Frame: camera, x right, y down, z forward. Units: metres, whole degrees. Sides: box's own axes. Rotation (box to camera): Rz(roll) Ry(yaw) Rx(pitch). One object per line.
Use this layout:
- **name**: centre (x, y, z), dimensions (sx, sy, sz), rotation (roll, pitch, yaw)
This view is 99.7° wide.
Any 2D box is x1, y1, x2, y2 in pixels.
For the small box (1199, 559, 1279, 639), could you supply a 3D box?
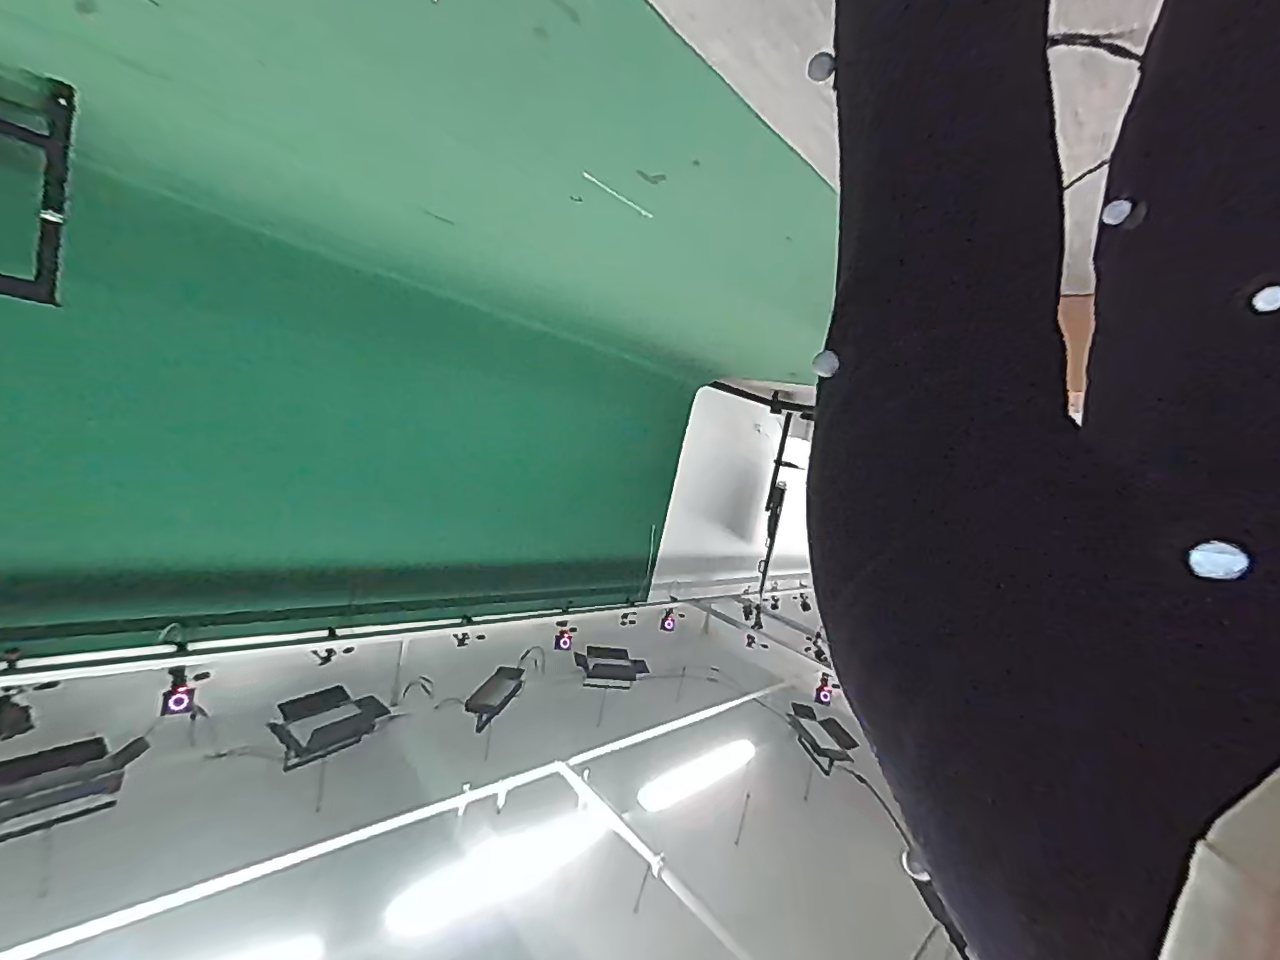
- **small box**: centre (1.701, 0.326, 1.509), dimensions (0.179, 0.176, 0.168), rotation (5, -170, -43)
